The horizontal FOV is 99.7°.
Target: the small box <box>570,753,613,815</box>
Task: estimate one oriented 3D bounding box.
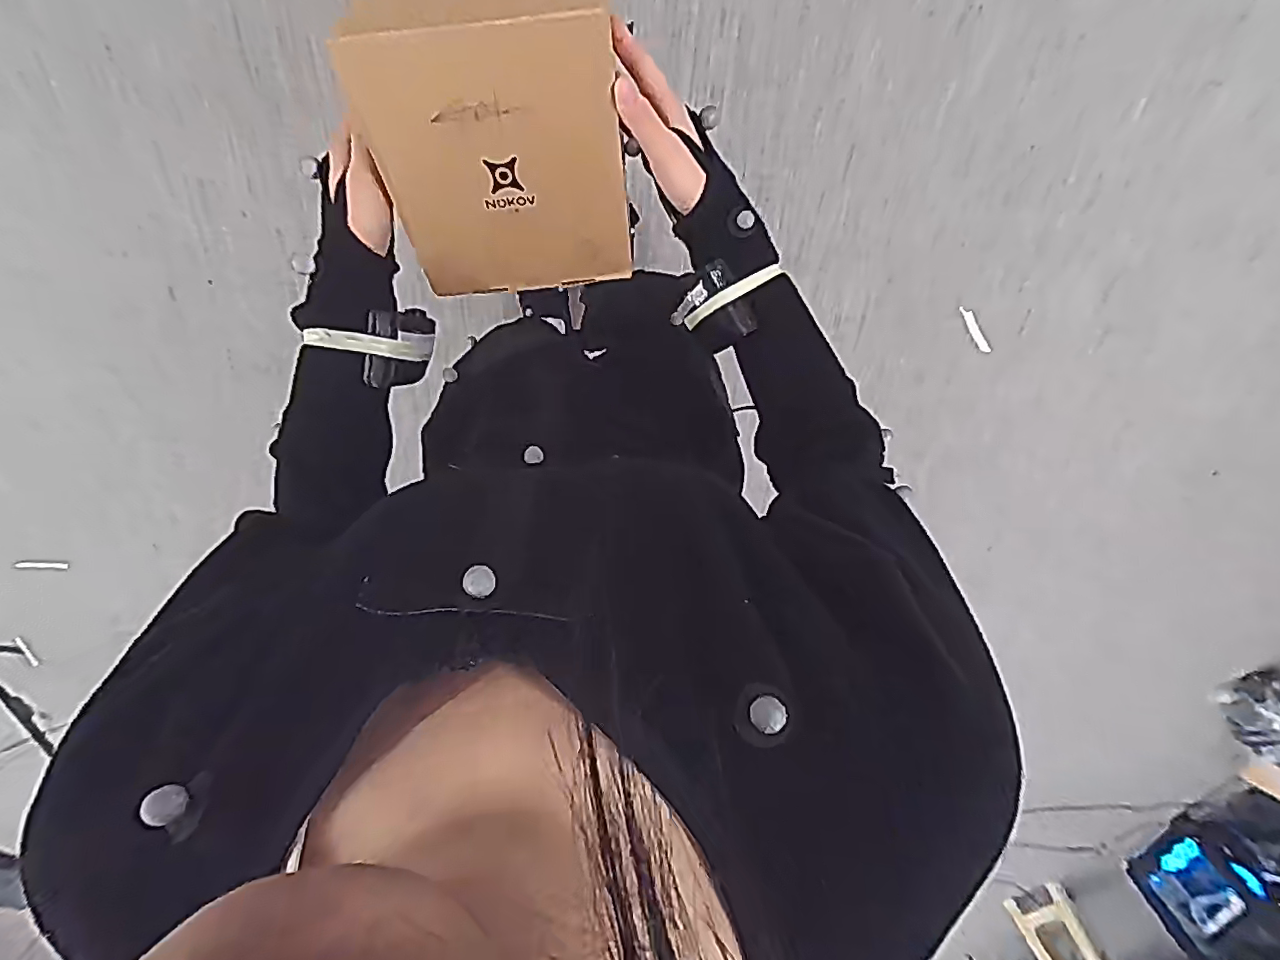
[{"bbox_3d":[-0.203,1.281,2.276,0.168,0.176,0.179,3,121,-5],"label":"small box"}]
